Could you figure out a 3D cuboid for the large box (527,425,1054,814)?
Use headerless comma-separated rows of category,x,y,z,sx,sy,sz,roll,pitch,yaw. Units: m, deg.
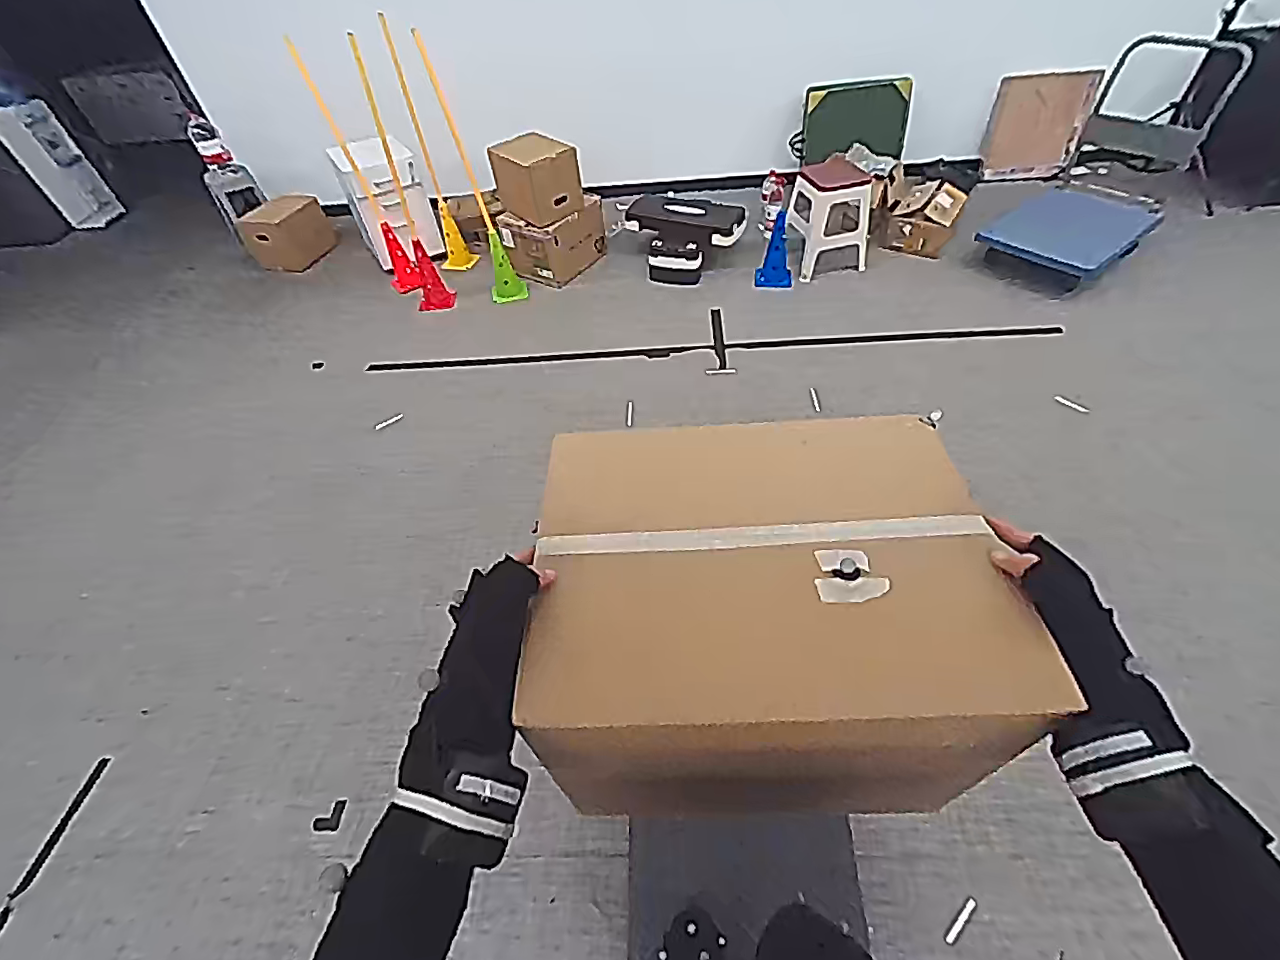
large box,0.116,0.163,0.613,0.408,0.320,0.320,-3,48,3
